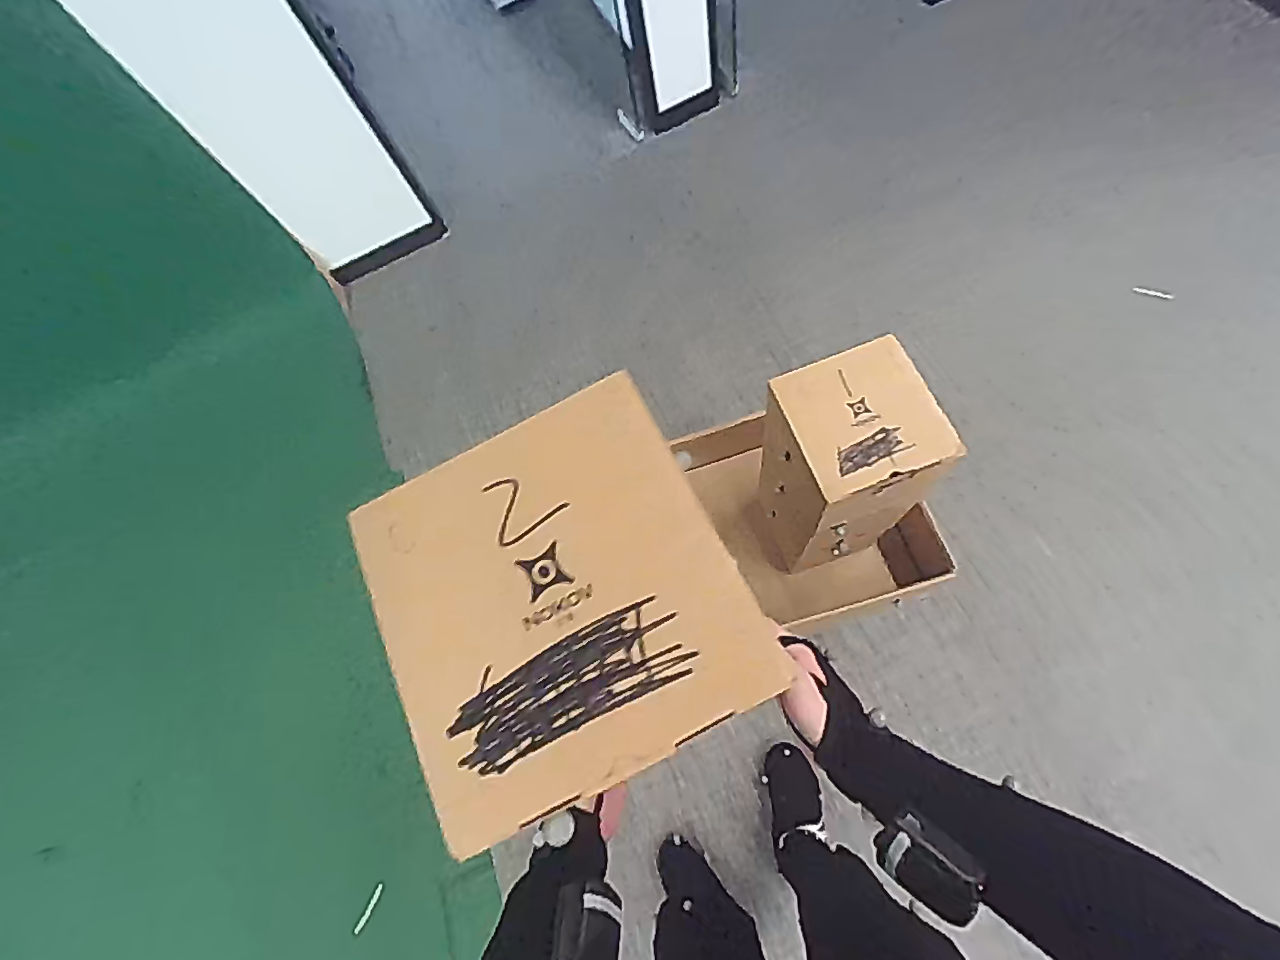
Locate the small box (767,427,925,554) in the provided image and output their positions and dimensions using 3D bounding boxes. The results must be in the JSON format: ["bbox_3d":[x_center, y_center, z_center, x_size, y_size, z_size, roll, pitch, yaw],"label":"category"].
[{"bbox_3d":[0.308,-0.002,0.856,0.168,0.176,0.179,-19,68,3],"label":"small box"}]

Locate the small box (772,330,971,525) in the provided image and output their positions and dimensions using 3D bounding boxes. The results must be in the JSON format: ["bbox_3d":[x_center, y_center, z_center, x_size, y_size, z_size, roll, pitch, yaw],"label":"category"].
[{"bbox_3d":[0.281,-0.054,0.703,0.168,0.176,0.179,-20,67,4],"label":"small box"}]

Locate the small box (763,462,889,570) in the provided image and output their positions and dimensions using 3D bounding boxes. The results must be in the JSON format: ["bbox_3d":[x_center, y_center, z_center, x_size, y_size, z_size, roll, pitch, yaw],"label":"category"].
[{"bbox_3d":[0.336,0.049,1.008,0.168,0.176,0.179,-19,67,4],"label":"small box"}]

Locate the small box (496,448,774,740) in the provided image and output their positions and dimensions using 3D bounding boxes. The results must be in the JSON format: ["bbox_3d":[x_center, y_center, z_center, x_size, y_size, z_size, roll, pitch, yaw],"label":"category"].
[{"bbox_3d":[-0.001,0.104,0.485,0.168,0.176,0.179,-25,71,0],"label":"small box"}]
